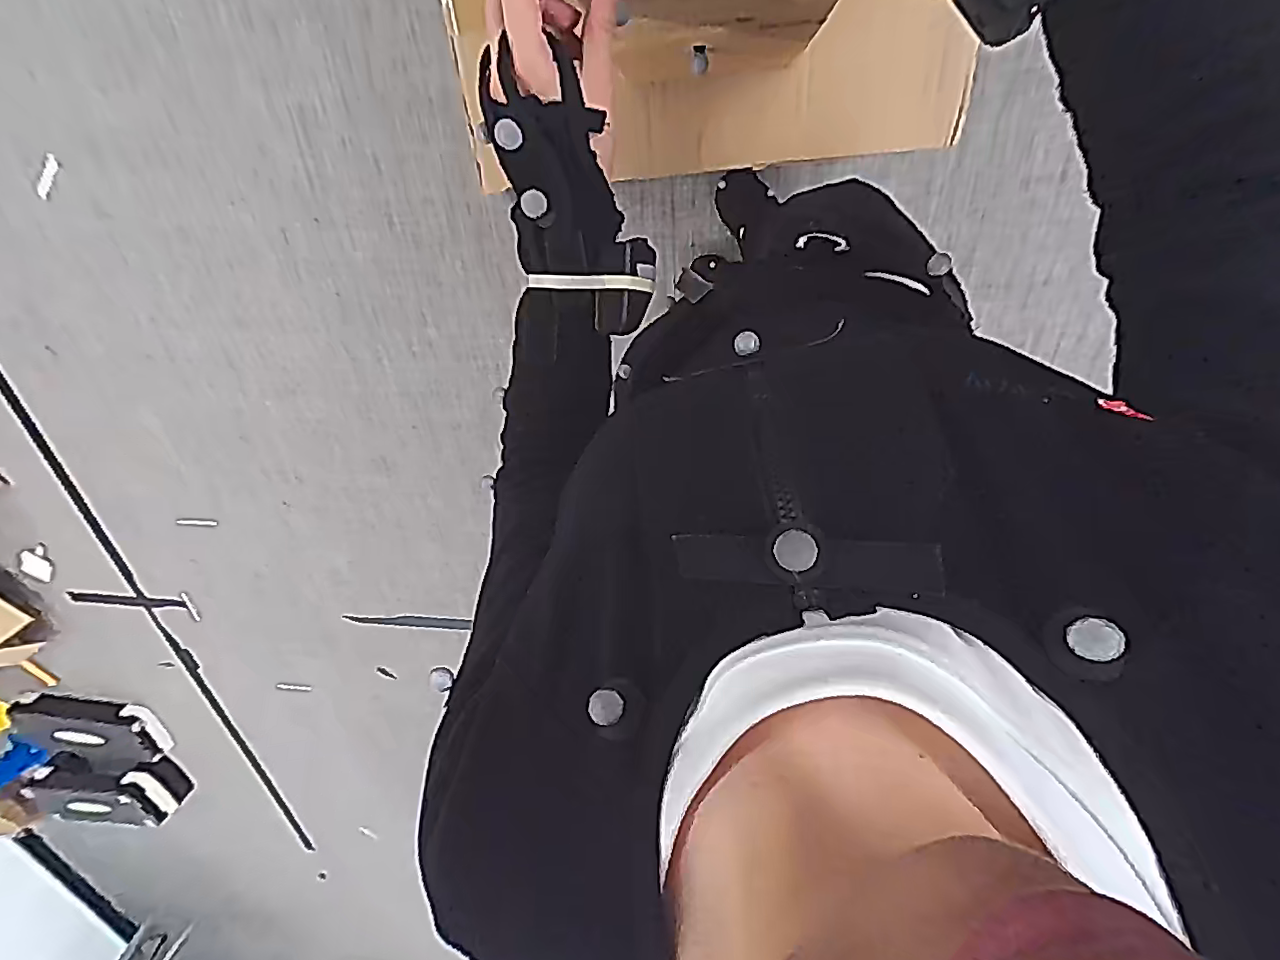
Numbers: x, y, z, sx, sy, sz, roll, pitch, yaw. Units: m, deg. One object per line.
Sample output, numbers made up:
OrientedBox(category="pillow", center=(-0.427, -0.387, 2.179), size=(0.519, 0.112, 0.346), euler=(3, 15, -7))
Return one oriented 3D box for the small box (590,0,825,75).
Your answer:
OrientedBox(category="small box", center=(0.053, -0.448, 0.439), size=(0.179, 0.176, 0.168), euler=(0, 120, 9))
